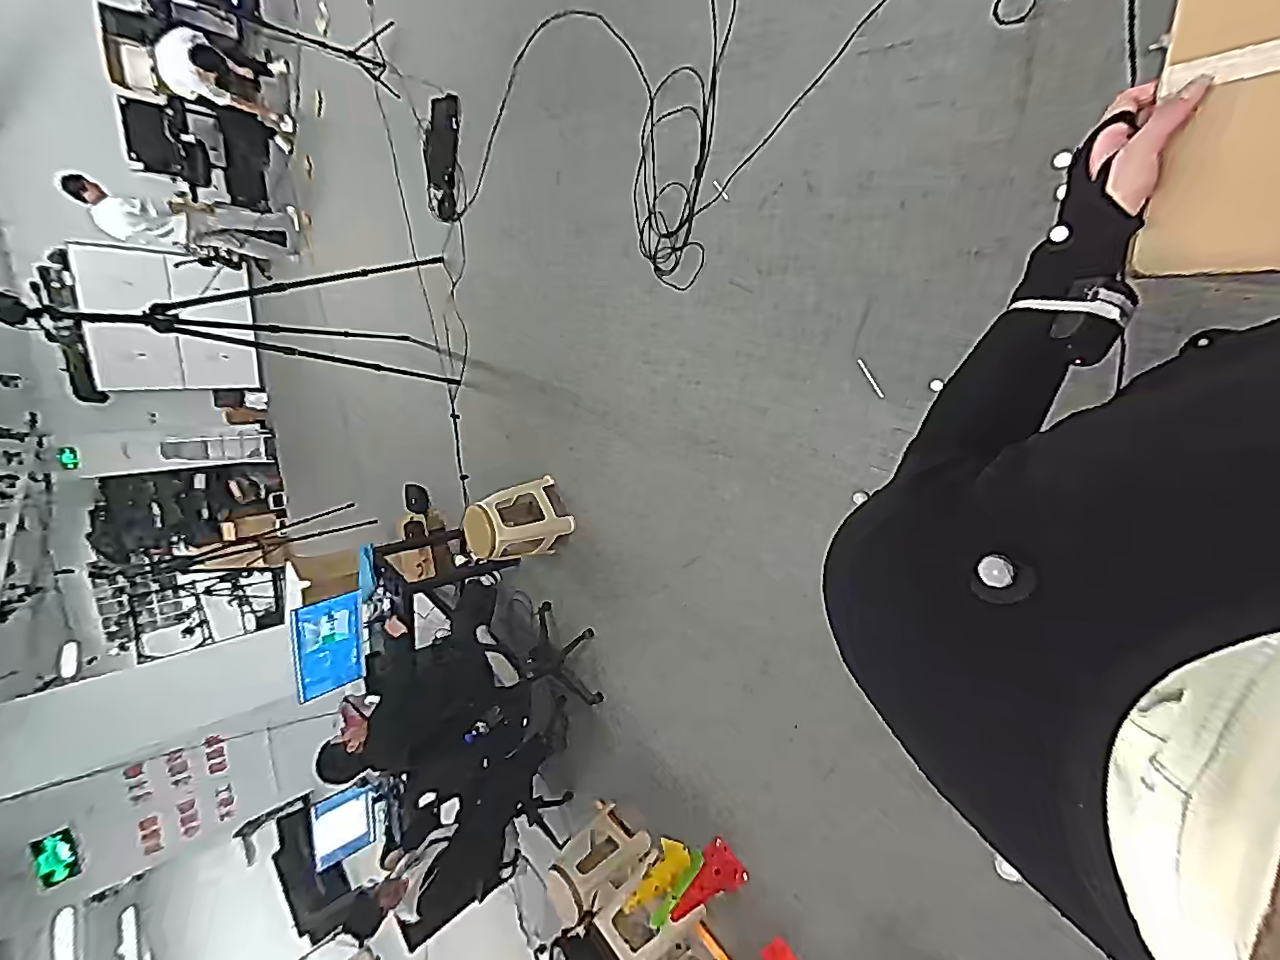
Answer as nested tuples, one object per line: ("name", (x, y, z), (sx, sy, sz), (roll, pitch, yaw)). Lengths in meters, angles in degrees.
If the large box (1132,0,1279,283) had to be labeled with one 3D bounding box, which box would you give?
("large box", (0.700, -0.339, 0.435), (0.408, 0.320, 0.320), (14, 115, 43))
